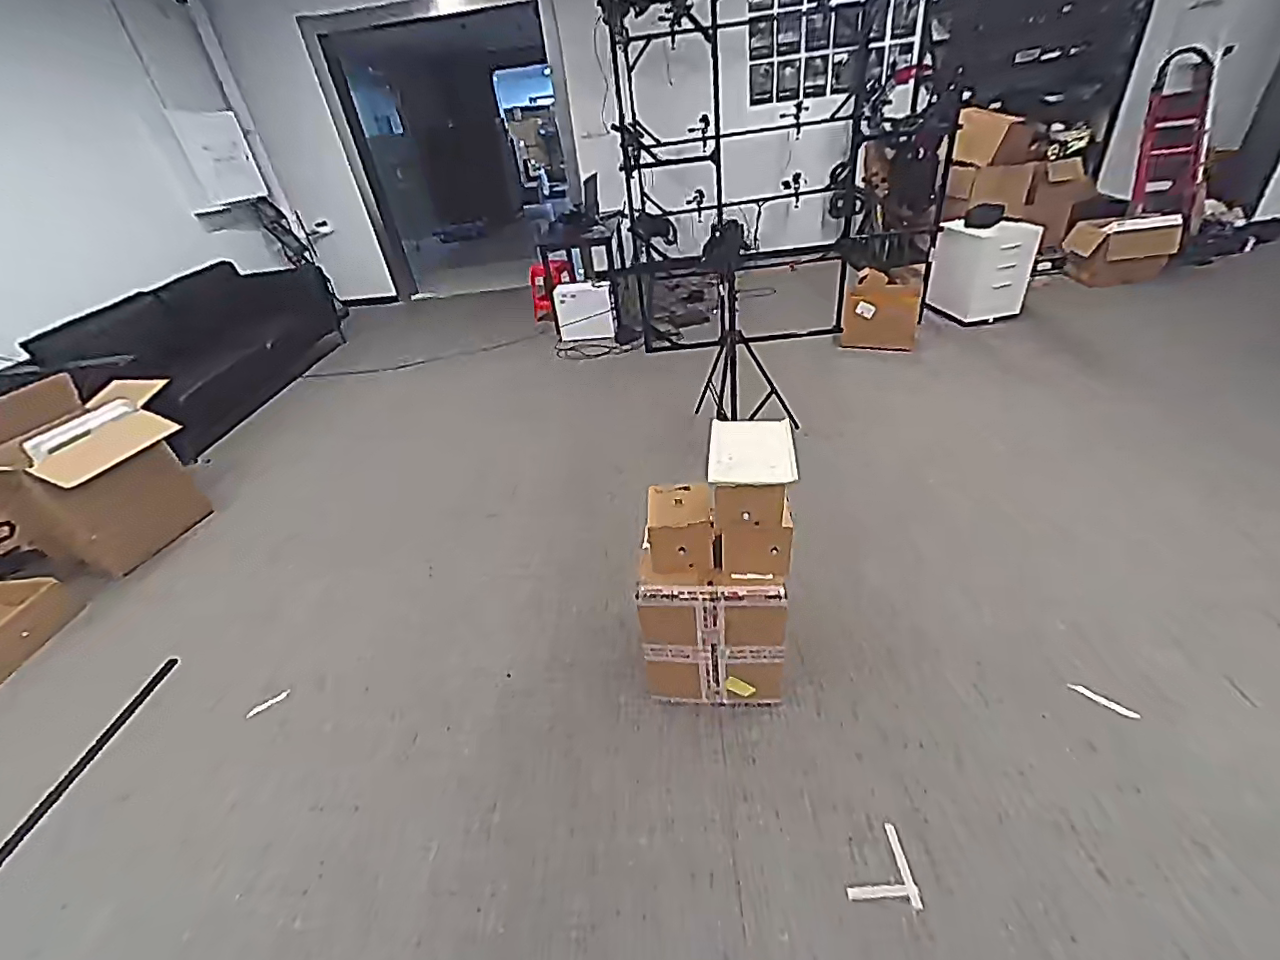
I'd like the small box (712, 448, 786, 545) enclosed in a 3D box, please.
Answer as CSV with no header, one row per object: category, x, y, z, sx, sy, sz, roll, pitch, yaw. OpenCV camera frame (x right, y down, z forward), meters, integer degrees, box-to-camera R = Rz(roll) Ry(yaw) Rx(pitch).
small box,0.265,0.037,1.333,0.168,0.176,0.179,1,37,9
